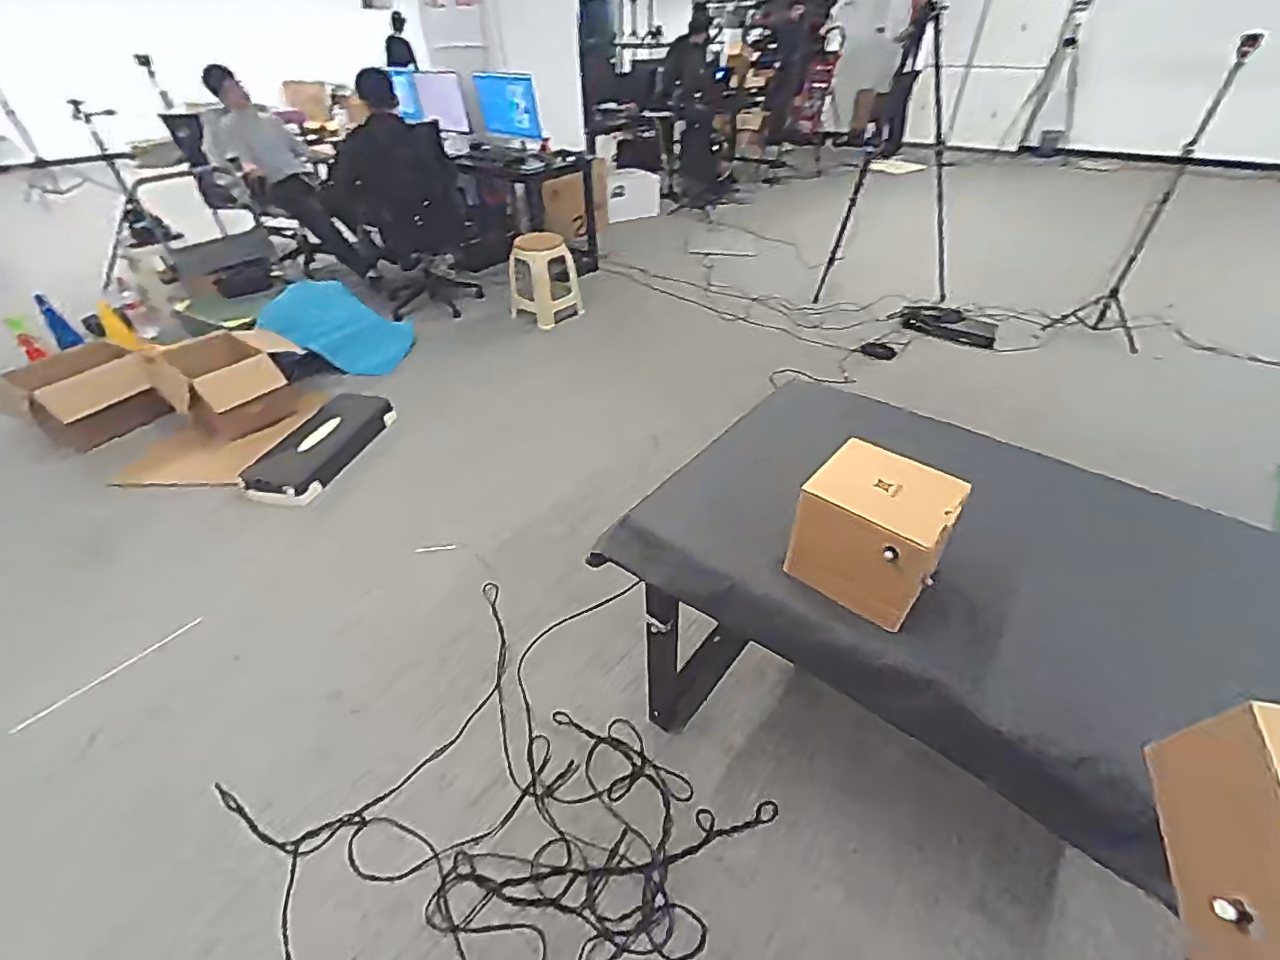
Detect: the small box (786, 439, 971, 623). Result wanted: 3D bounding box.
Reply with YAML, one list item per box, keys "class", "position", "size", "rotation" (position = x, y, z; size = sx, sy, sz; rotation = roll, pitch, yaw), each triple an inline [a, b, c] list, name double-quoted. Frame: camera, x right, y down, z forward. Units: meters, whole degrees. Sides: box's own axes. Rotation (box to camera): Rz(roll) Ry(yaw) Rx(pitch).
- class: "small box"
  position: [0.333, 0.071, 0.782]
  size: [0.179, 0.176, 0.168]
  rotation: [29, 47, 31]
